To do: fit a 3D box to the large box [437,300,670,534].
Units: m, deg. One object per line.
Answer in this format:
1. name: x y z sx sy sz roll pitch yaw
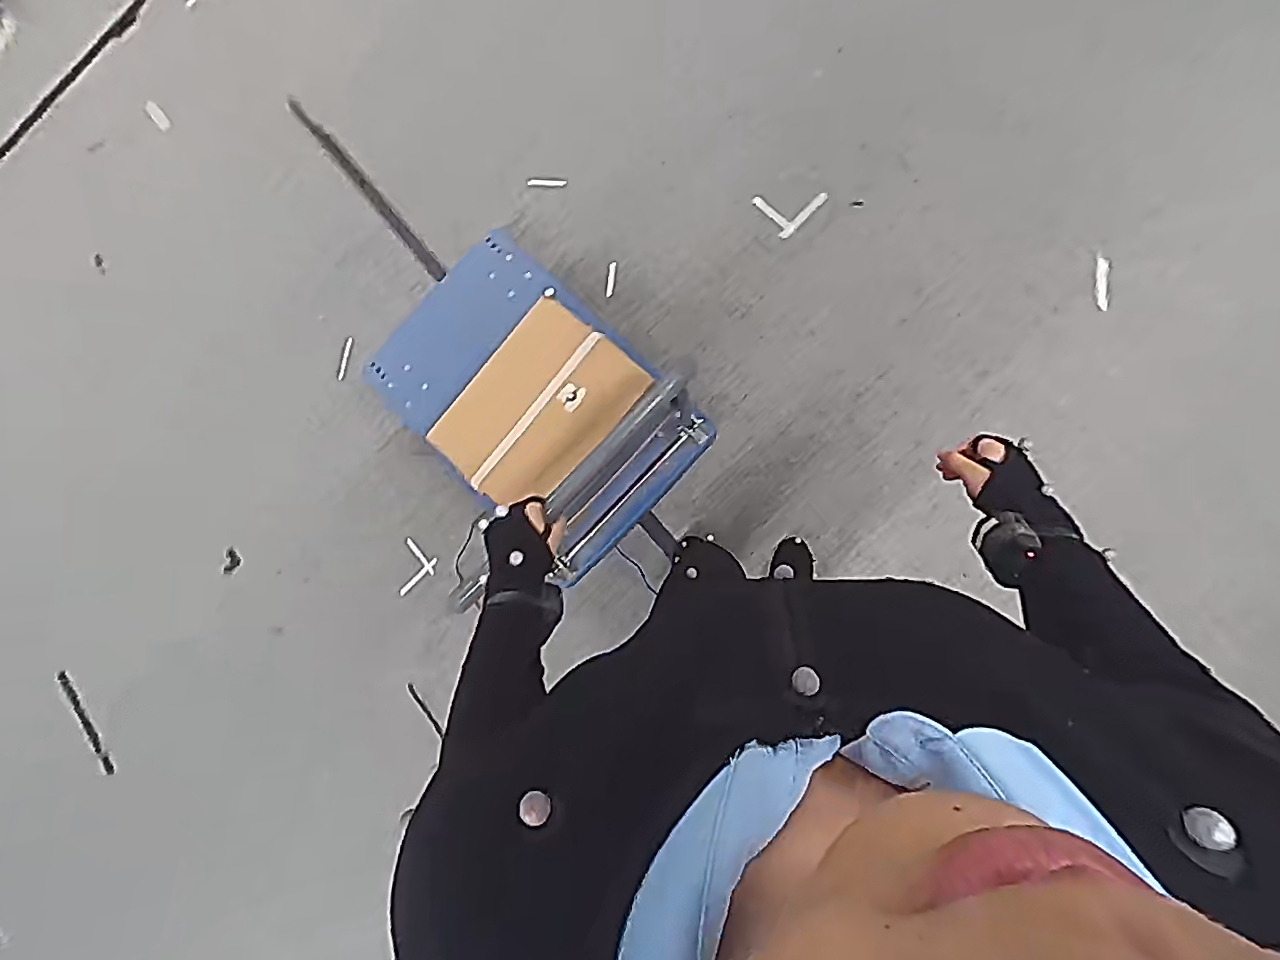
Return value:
1. large box: -0.180 -0.123 1.277 0.320 0.320 0.408 40 90 10
